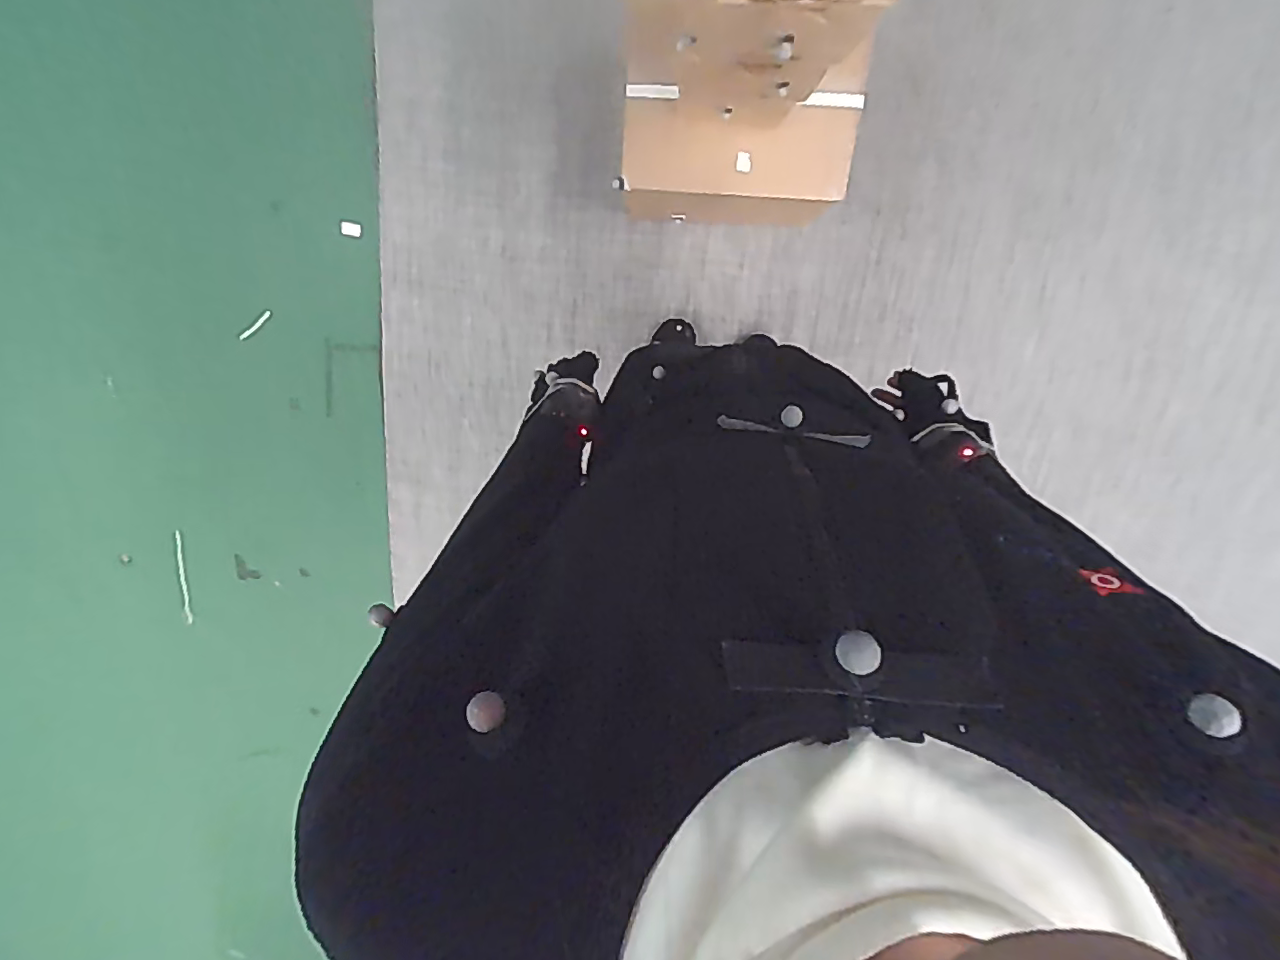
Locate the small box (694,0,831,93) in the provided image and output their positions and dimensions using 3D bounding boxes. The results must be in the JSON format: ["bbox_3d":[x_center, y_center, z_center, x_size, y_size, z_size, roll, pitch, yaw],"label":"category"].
[{"bbox_3d":[0.156,-0.614,0.686,0.168,0.176,0.179,3,112,3],"label":"small box"}]

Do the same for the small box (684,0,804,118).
[{"bbox_3d":[0.163,-0.675,0.836,0.179,0.176,0.168,5,114,3],"label":"small box"}]

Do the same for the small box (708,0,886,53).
[{"bbox_3d":[0.156,-0.550,0.534,0.168,0.176,0.179,3,114,4],"label":"small box"}]
